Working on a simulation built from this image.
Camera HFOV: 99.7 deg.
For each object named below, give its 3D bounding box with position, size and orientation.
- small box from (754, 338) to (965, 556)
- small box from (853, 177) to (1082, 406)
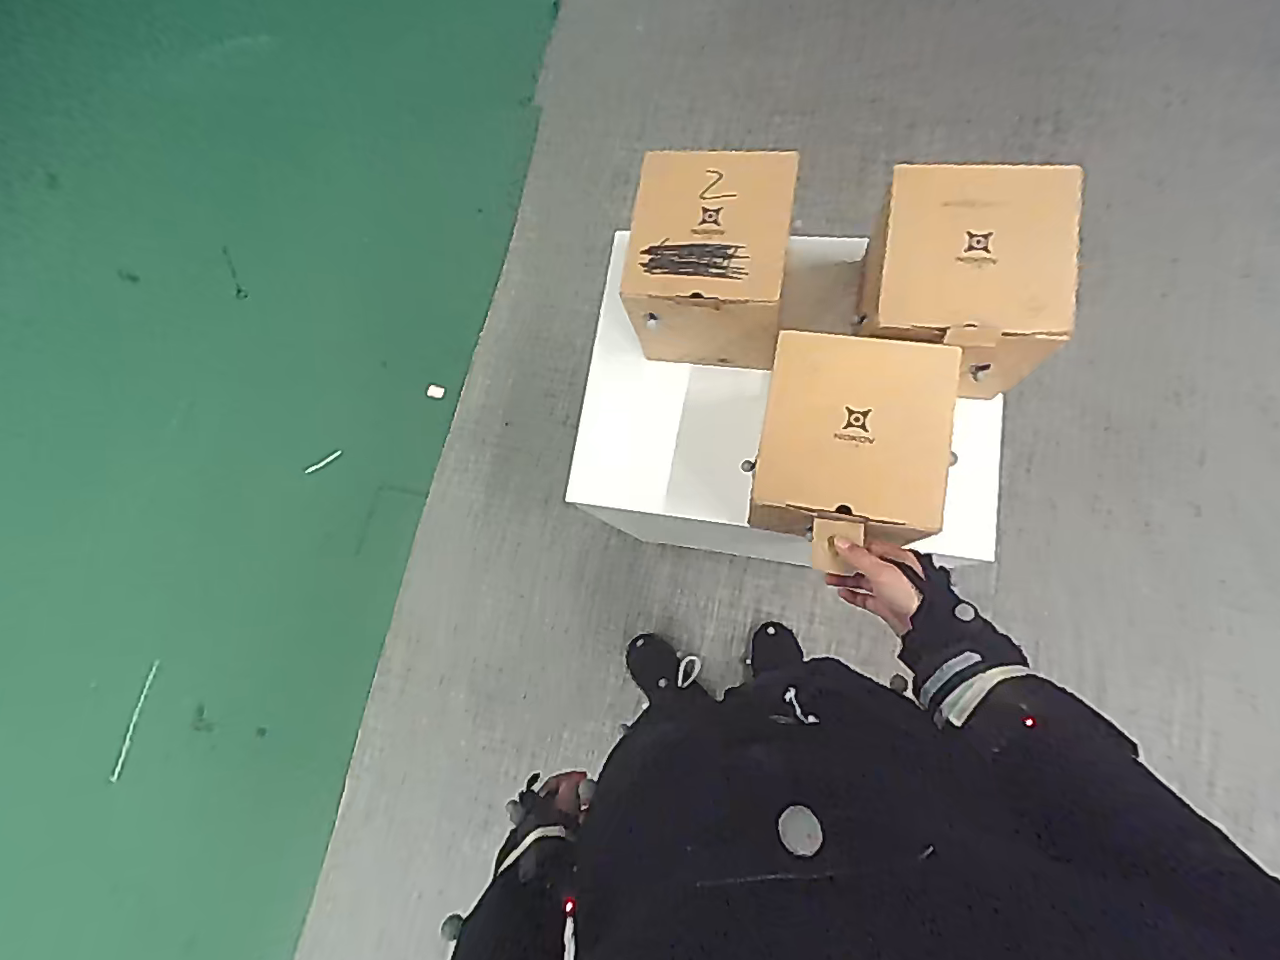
[{"bbox_3d":[0.216,-0.025,0.572,0.168,0.176,0.179,9,79,12],"label":"small box"},{"bbox_3d":[0.335,-0.192,0.586,0.168,0.176,0.179,8,79,12],"label":"small box"}]
